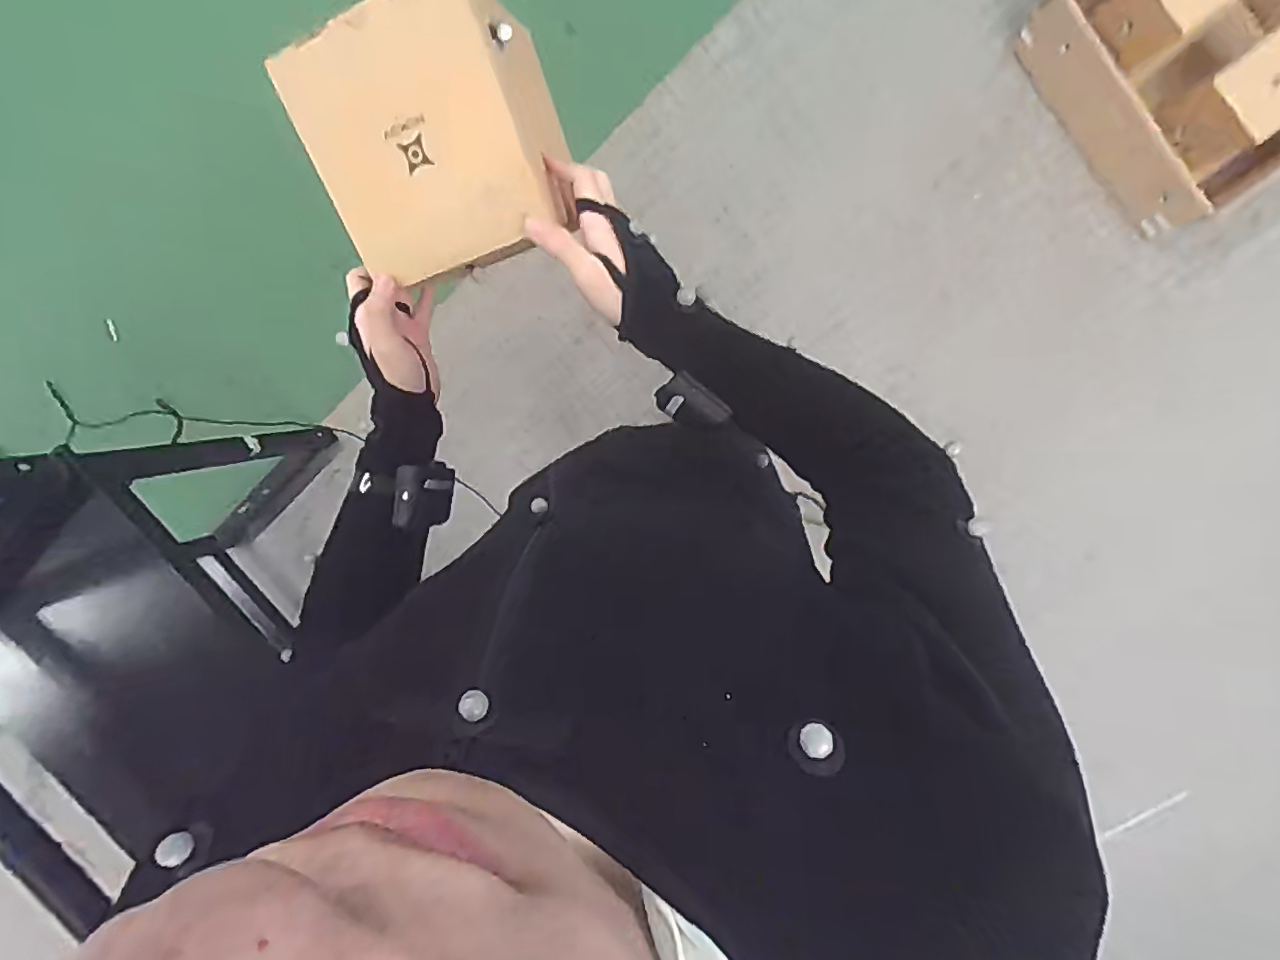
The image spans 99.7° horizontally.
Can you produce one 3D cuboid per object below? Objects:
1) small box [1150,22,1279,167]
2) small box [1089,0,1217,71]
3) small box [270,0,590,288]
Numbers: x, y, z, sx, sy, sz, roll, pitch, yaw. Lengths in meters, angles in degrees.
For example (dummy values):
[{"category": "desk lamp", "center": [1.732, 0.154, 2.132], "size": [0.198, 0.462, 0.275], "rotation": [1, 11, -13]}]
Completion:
[{"category": "small box", "center": [1.305, -0.839, 1.188], "size": [0.179, 0.176, 0.168], "rotation": [-38, 92, 12]}, {"category": "small box", "center": [1.132, -1.052, 1.171], "size": [0.179, 0.176, 0.168], "rotation": [-38, 94, 11]}, {"category": "small box", "center": [-0.156, -0.288, 0.474], "size": [0.168, 0.176, 0.179], "rotation": [-14, 113, 13]}]
